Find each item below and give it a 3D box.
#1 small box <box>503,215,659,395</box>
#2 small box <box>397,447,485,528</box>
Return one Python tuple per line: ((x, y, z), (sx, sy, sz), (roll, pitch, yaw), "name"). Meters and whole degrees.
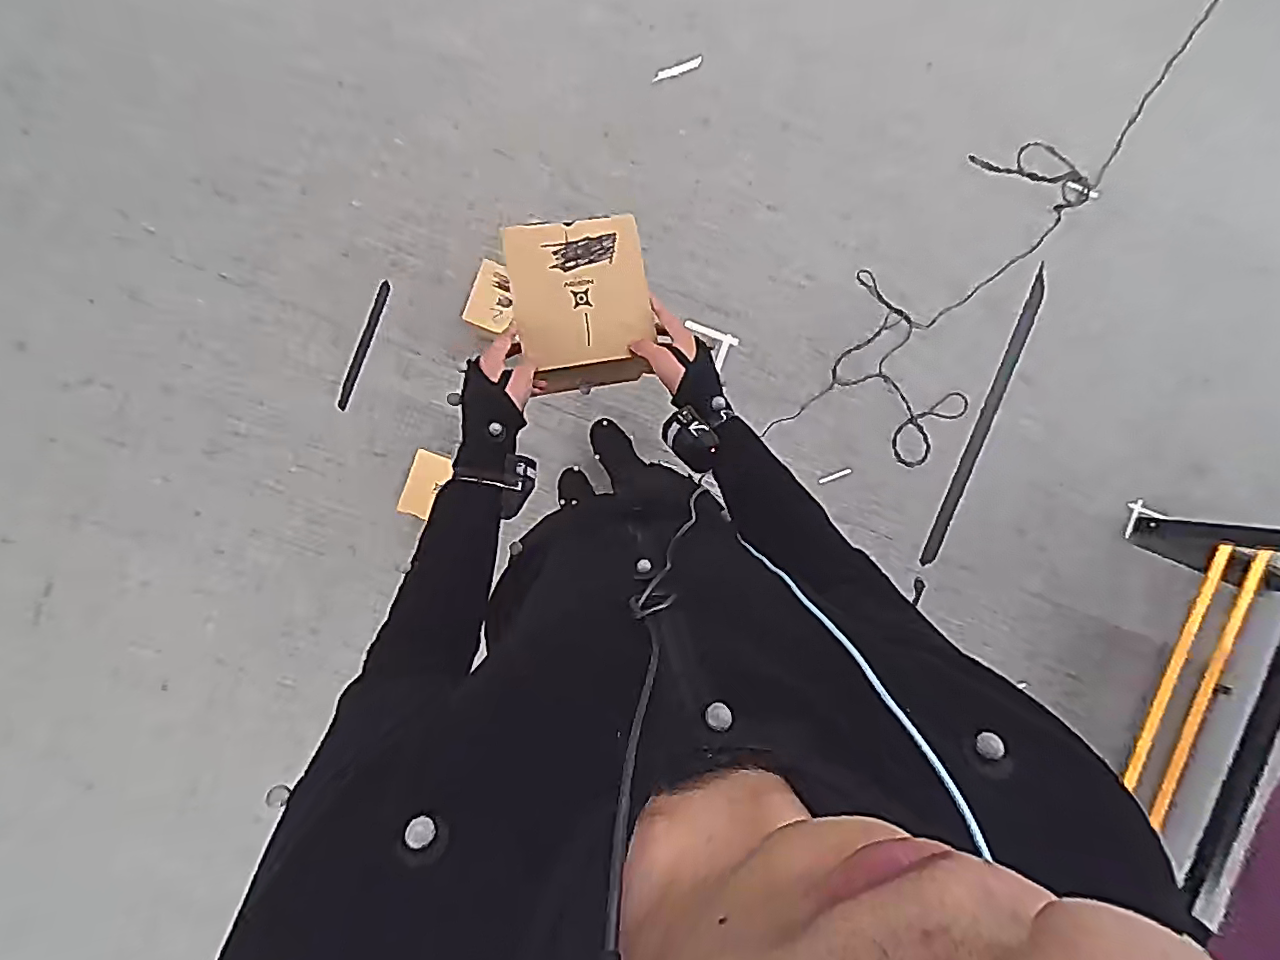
((-0.083, -0.223, 0.723), (0.168, 0.176, 0.179), (-10, 91, -9), "small box")
((-0.548, 0.016, 1.514), (0.168, 0.176, 0.179), (20, 91, -6), "small box")
